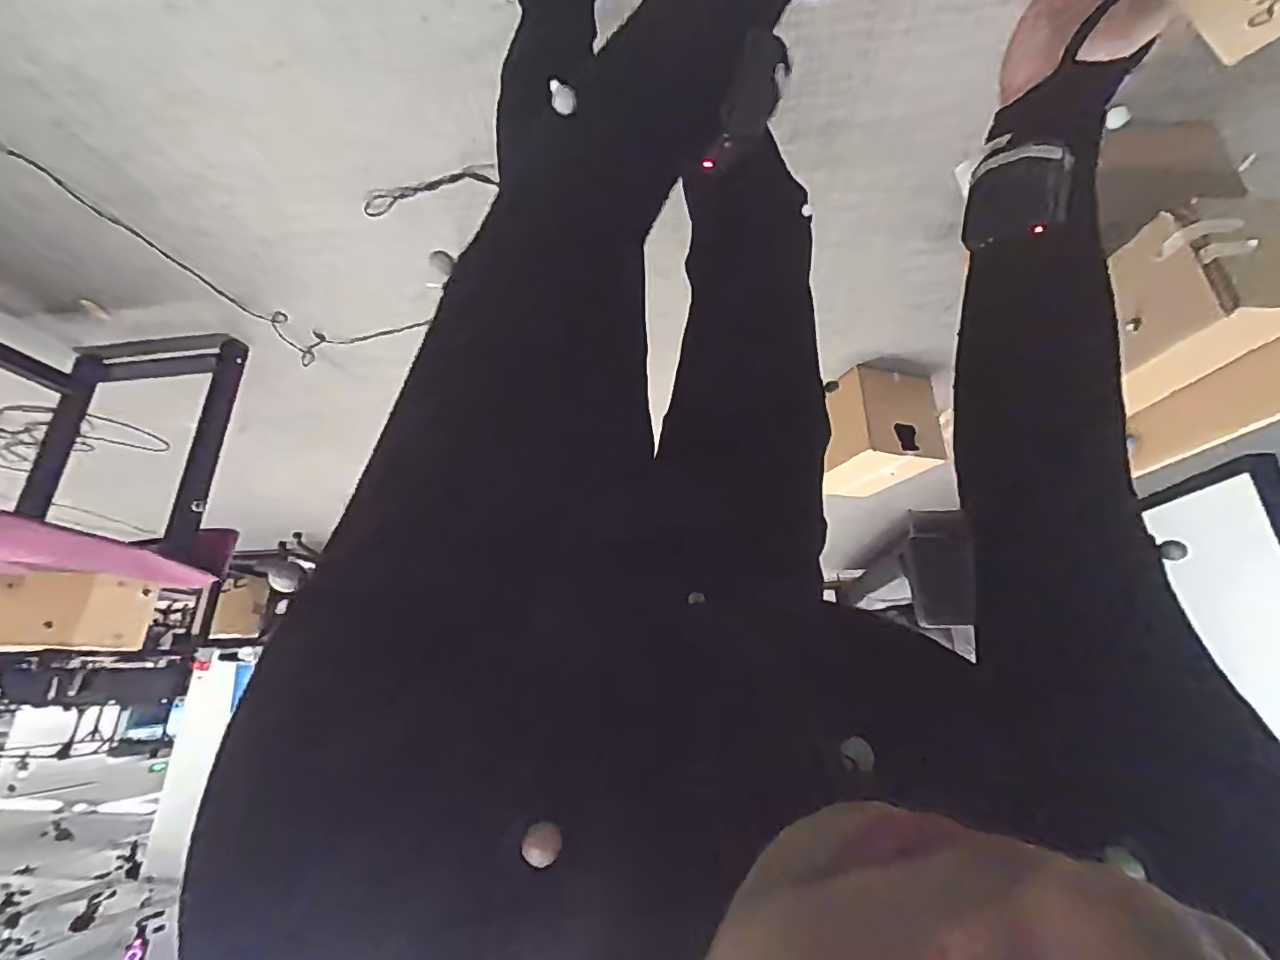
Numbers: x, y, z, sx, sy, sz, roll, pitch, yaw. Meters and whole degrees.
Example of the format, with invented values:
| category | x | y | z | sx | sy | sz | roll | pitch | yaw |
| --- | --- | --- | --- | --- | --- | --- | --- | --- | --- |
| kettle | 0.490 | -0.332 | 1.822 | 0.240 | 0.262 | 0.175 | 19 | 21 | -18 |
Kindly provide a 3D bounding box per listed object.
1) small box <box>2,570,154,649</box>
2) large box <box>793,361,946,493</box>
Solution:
| category | x | y | z | sx | sy | sz | roll | pitch | yaw |
| --- | --- | --- | --- | --- | --- | --- | --- | --- | --- |
| small box | -1.312 | 0.310 | 1.281 | 0.179 | 0.176 | 0.168 | 0 | 160 | 5 |
| large box | 0.799 | -0.174 | 1.948 | 0.320 | 0.320 | 0.408 | 5 | 159 | -16 |
